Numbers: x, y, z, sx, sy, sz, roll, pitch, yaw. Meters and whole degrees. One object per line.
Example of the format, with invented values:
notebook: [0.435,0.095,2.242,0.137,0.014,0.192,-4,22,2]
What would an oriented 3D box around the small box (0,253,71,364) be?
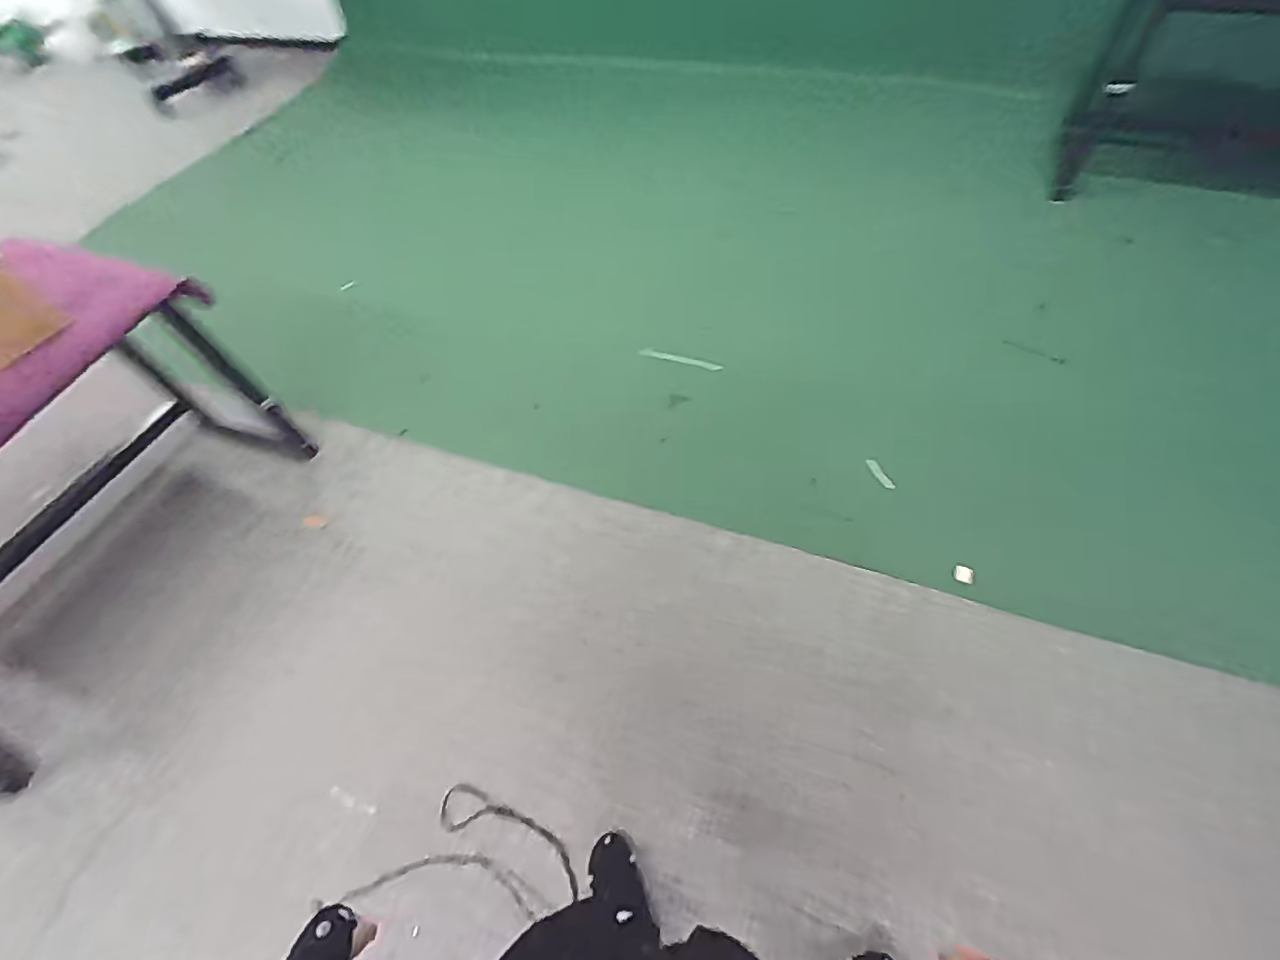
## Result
small box: [-1.418,-0.388,1.180,0.168,0.176,0.179,25,64,21]
